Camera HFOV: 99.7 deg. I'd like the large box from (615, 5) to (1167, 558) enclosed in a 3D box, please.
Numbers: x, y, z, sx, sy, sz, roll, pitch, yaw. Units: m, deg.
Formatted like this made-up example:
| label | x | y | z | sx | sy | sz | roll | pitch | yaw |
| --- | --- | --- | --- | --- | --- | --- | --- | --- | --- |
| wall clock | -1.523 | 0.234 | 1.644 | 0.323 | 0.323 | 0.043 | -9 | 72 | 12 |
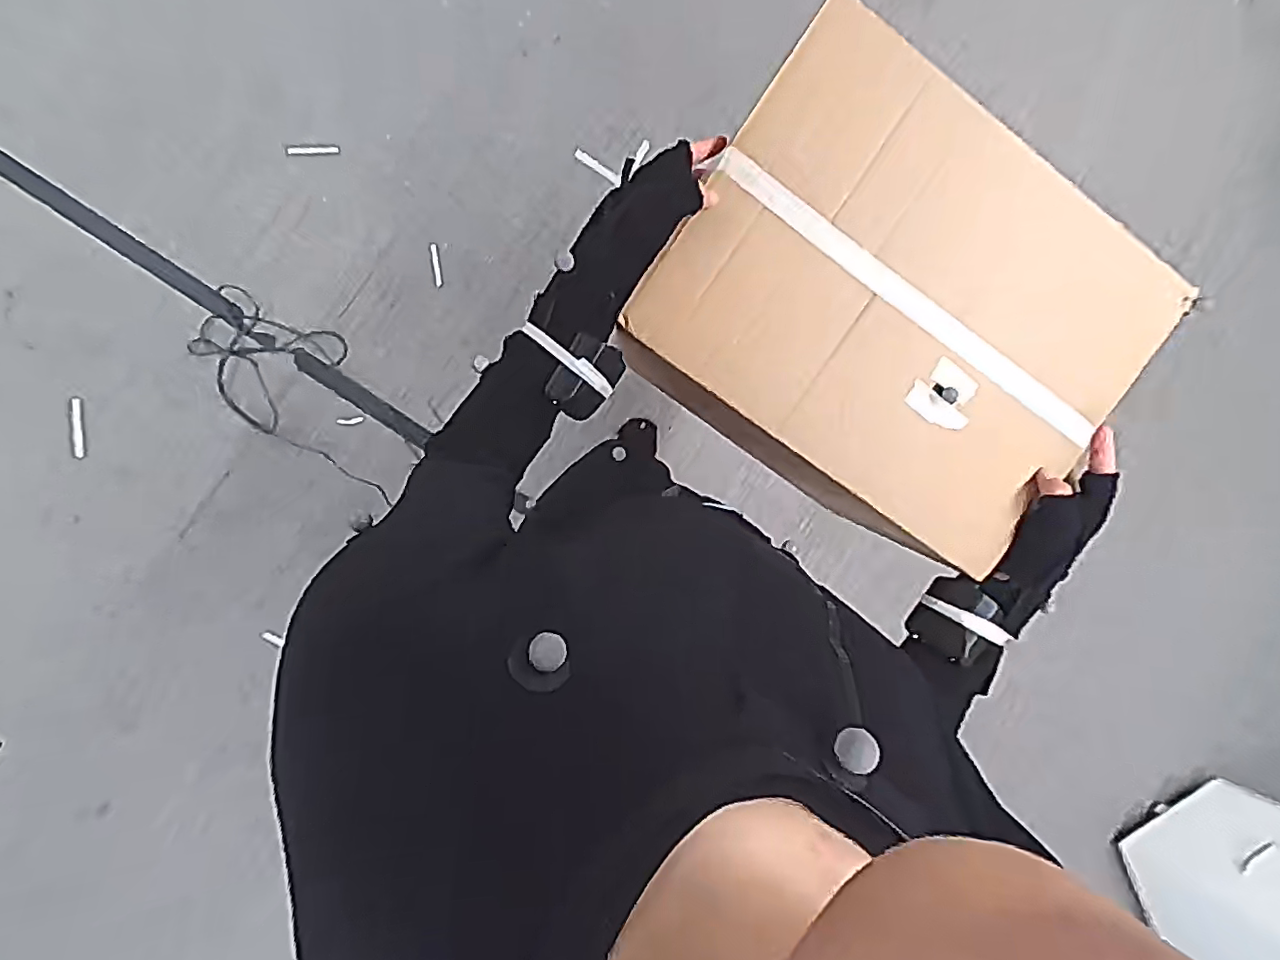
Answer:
| label | x | y | z | sx | sy | sz | roll | pitch | yaw |
| --- | --- | --- | --- | --- | --- | --- | --- | --- | --- |
| large box | 0.219 | -0.176 | 0.620 | 0.408 | 0.320 | 0.320 | 34 | 95 | -8 |
